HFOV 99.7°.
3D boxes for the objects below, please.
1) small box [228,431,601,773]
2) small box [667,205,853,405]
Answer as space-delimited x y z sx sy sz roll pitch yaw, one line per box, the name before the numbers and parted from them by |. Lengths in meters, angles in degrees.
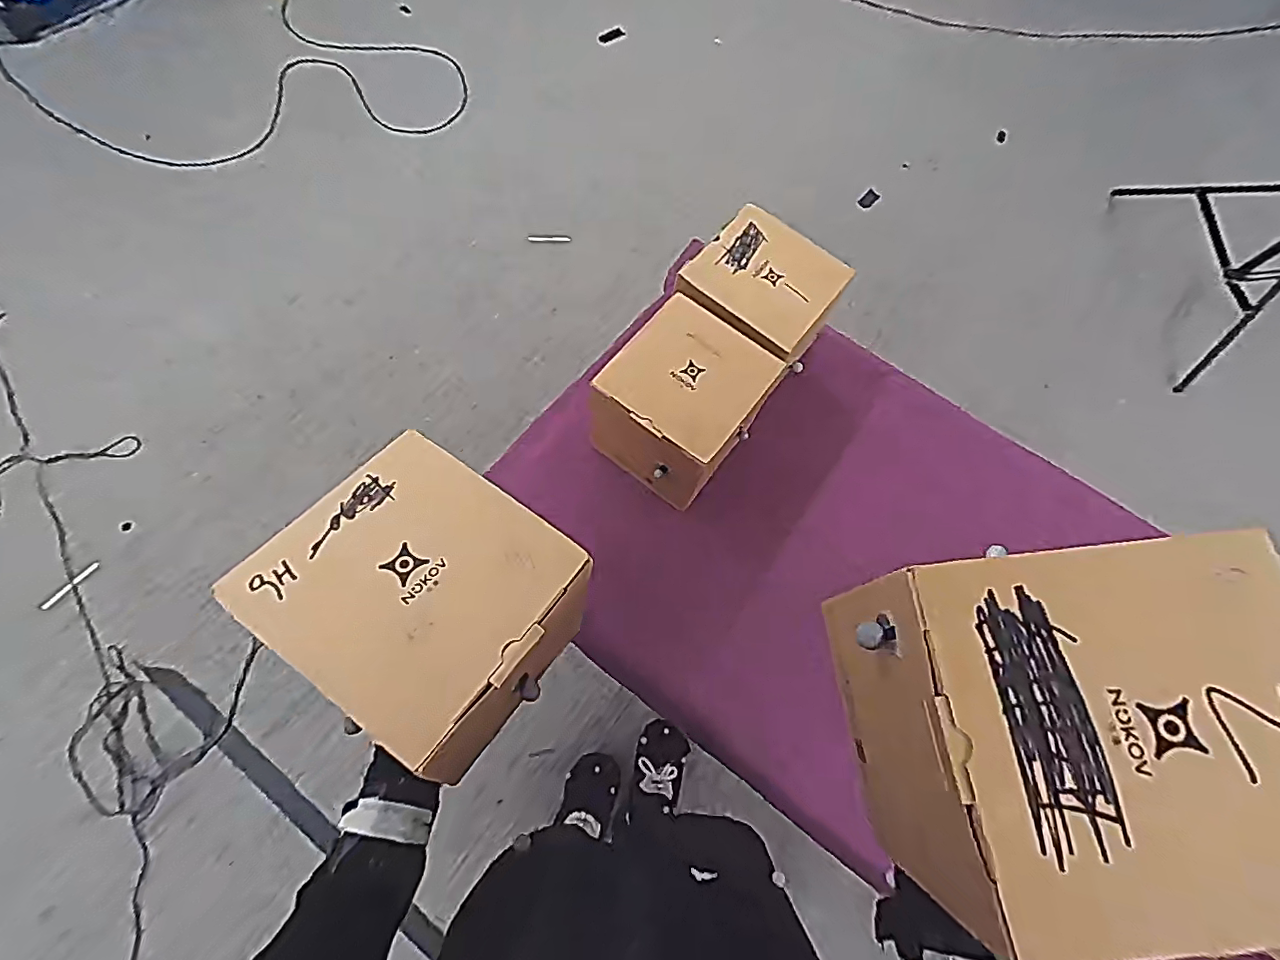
small box | -0.154 0.102 0.426 0.179 0.176 0.168 34 59 9
small box | 0.155 -0.238 0.769 0.179 0.176 0.168 38 72 9
